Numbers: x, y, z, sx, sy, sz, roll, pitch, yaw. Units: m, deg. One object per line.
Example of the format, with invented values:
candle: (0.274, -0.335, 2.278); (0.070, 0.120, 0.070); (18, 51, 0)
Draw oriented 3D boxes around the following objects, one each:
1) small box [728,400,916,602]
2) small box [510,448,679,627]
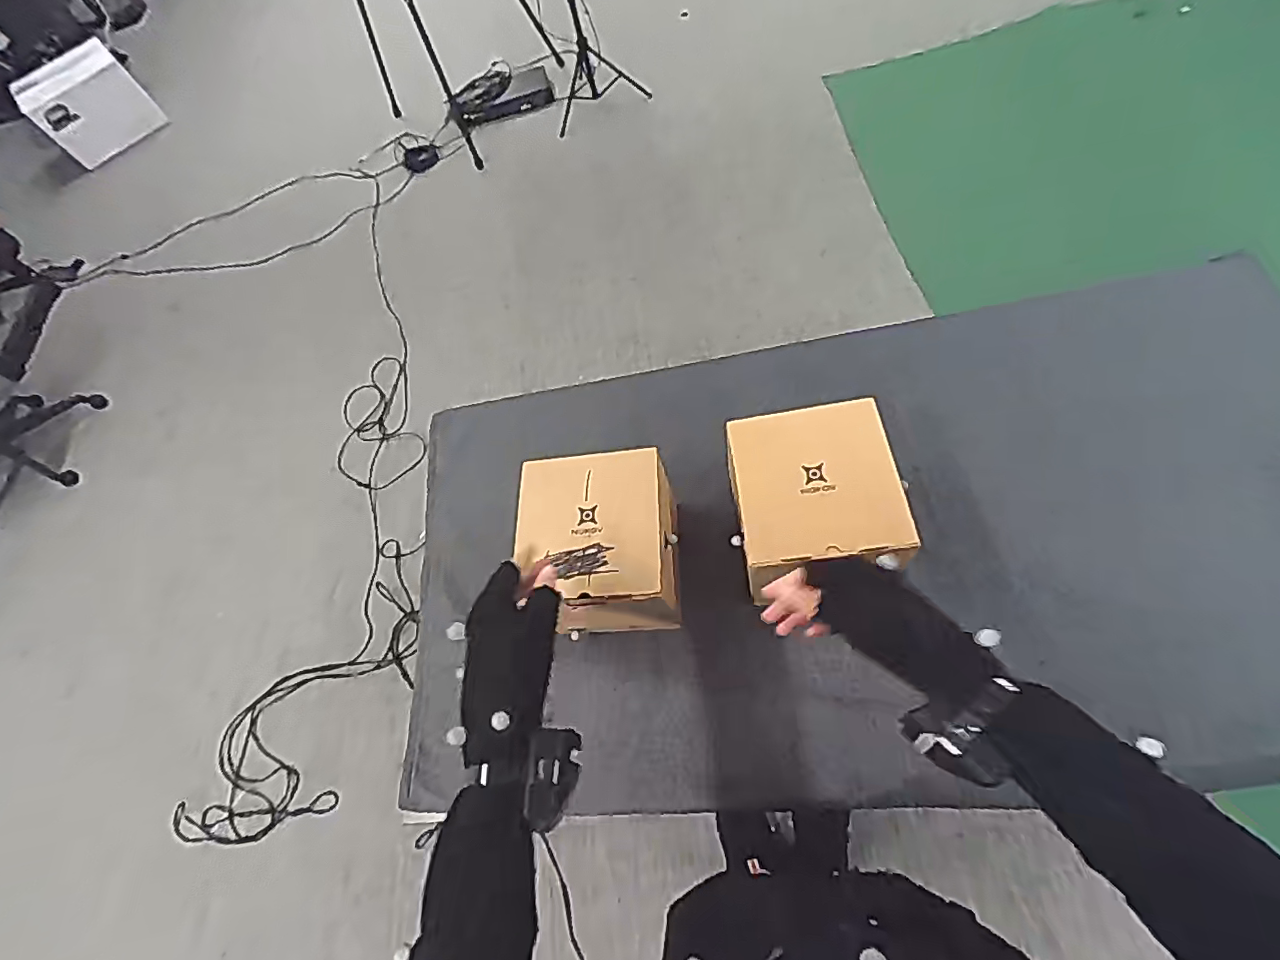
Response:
small box: (0.199, 0.033, 0.645); (0.168, 0.176, 0.179); (-9, 63, 8)
small box: (-0.045, 0.082, 0.672); (0.168, 0.176, 0.179); (-6, 62, 10)
